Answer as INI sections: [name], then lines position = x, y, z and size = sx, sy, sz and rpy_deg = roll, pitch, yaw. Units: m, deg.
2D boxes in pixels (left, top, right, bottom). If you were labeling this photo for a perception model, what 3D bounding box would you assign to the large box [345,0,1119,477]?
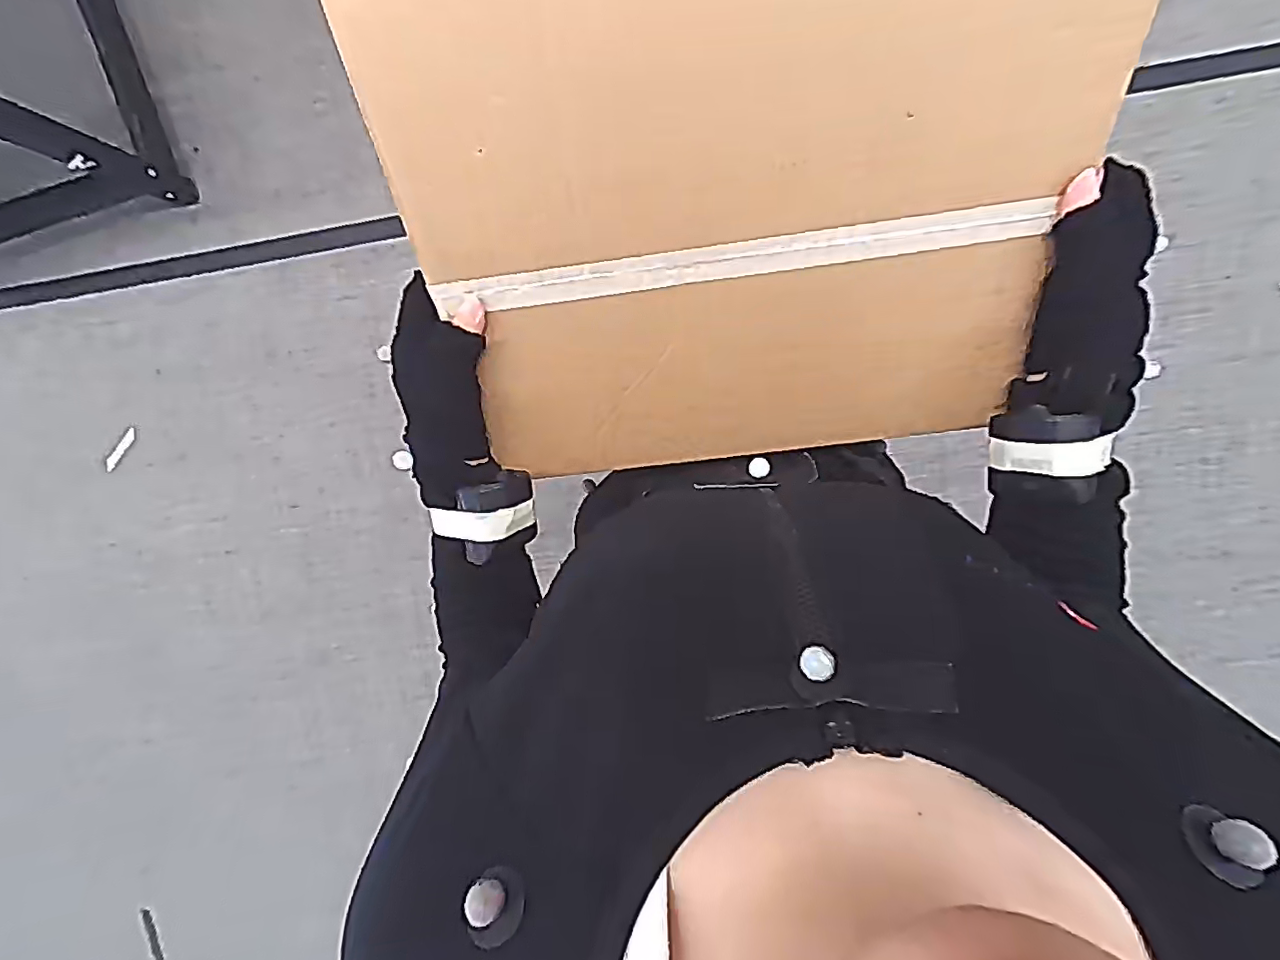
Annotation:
[large box]
position = 0.060, -0.238, 0.470
size = 0.408, 0.320, 0.320
rpy_deg = -7, 129, 4
